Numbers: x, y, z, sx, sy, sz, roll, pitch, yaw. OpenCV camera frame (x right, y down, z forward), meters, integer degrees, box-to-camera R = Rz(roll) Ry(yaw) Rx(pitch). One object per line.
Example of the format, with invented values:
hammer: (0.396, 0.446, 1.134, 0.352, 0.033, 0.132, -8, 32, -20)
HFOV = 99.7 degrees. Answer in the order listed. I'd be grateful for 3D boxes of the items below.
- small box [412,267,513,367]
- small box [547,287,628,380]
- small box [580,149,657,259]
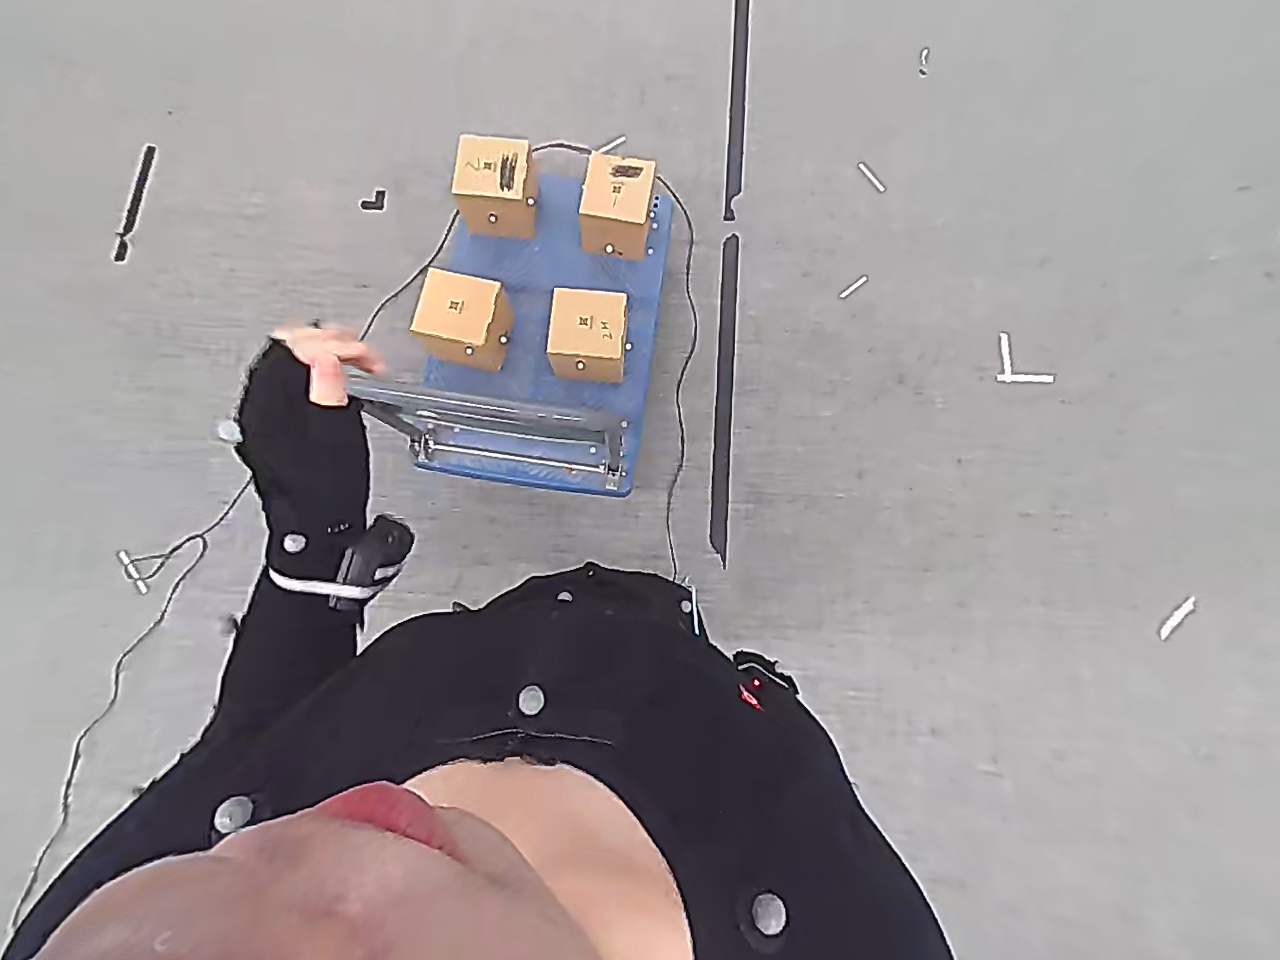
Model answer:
small box: (-0.430, -0.395, 1.341, 0.179, 0.176, 0.168, 12, 80, -1)
small box: (-0.123, -0.357, 1.343, 0.179, 0.176, 0.168, 5, 80, -1)
small box: (-0.055, -0.711, 1.406, 0.168, 0.176, 0.179, 10, 81, 0)
